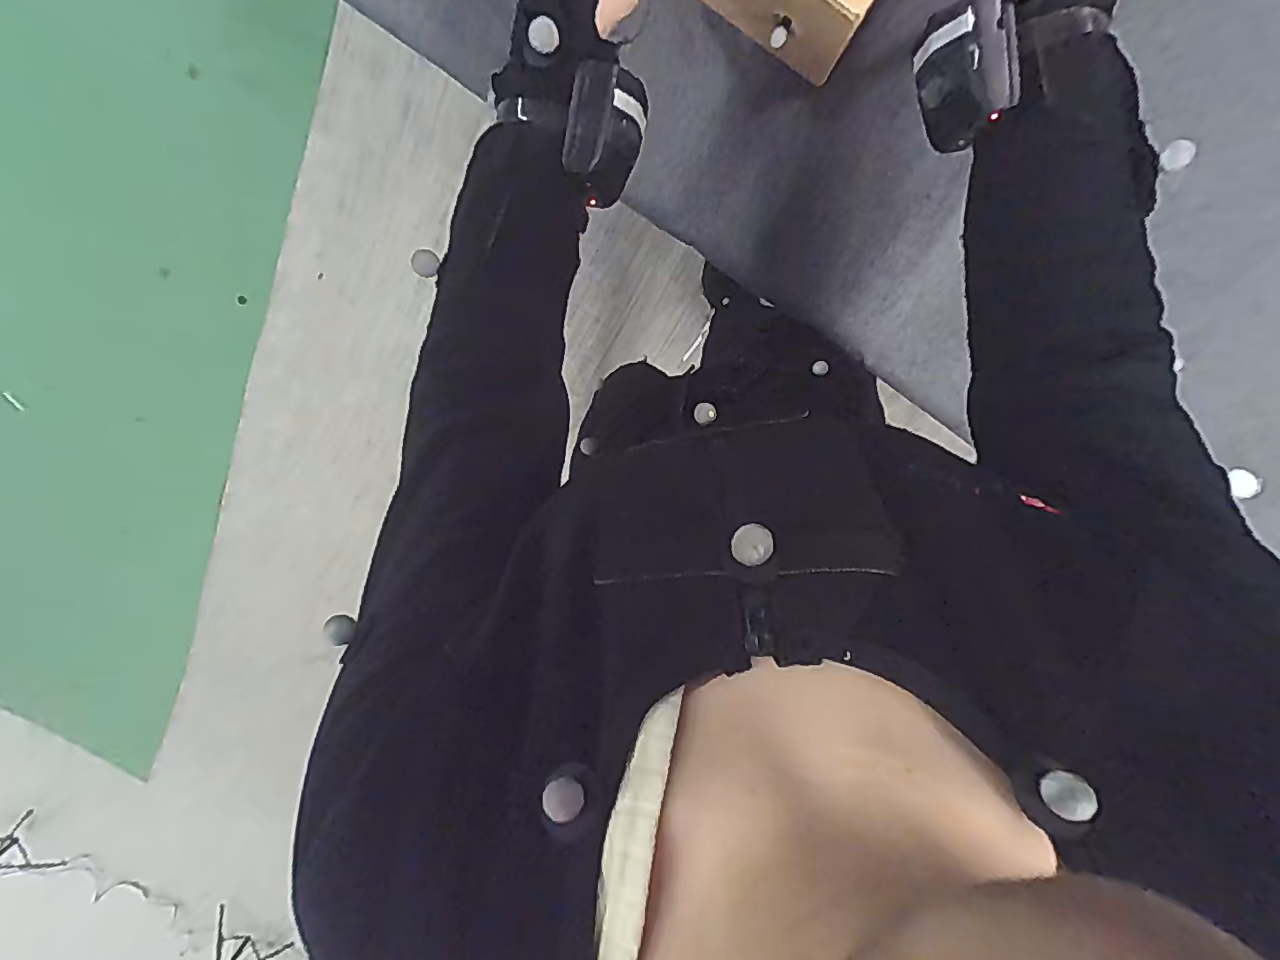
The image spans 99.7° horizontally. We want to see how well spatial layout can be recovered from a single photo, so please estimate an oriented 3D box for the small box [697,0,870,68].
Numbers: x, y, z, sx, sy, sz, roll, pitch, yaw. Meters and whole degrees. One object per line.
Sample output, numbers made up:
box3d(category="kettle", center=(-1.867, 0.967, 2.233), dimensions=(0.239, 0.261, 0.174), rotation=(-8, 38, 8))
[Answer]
box3d(category="small box", center=(0.106, -0.406, 0.342), dimensions=(0.179, 0.176, 0.168), rotation=(32, 113, -5))
